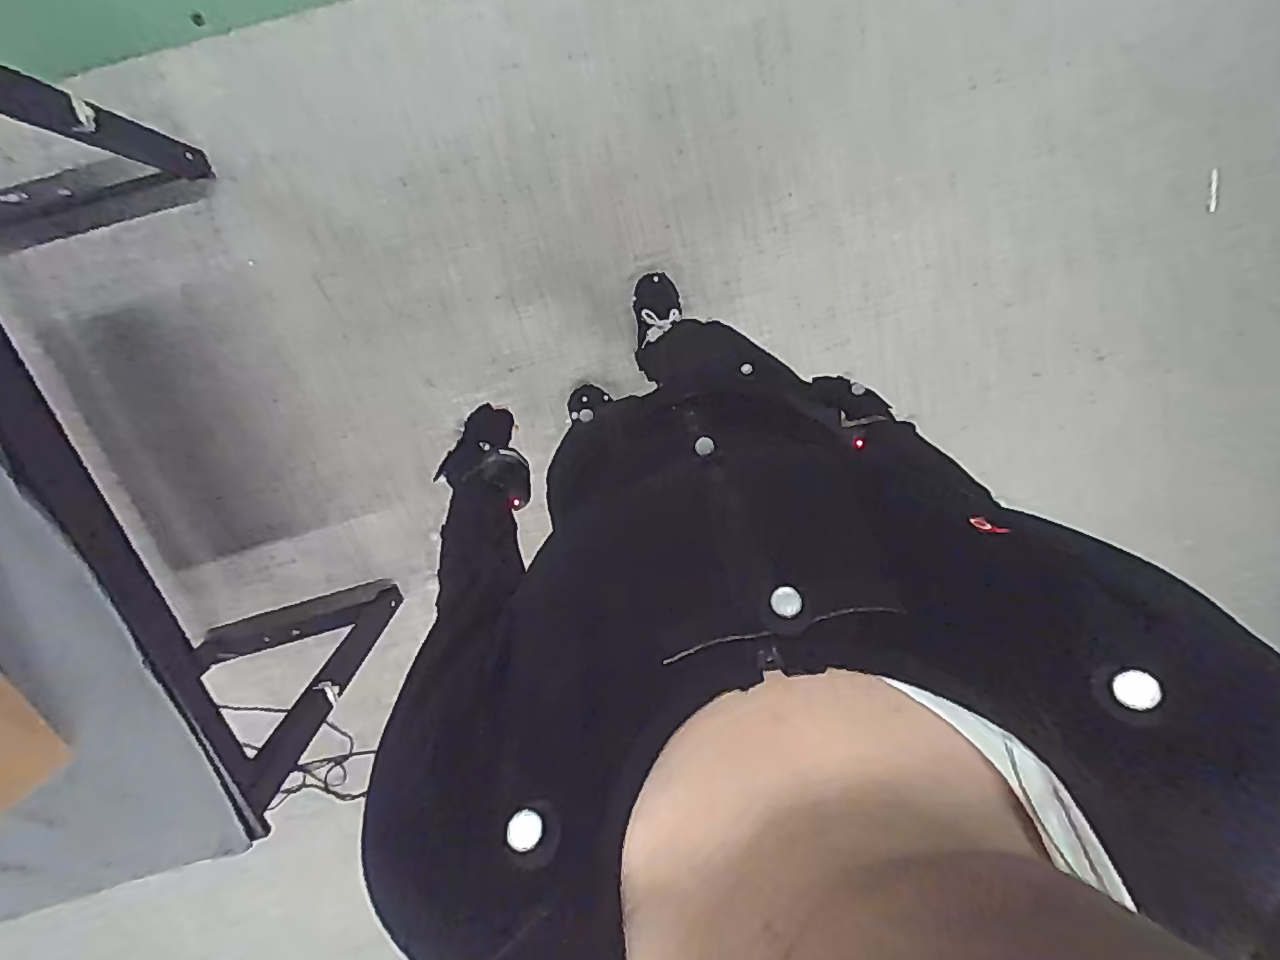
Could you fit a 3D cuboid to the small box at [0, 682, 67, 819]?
[{"bbox_3d":[-0.915,0.376,0.678,0.168,0.176,0.179,-21,107,1],"label":"small box"}]
